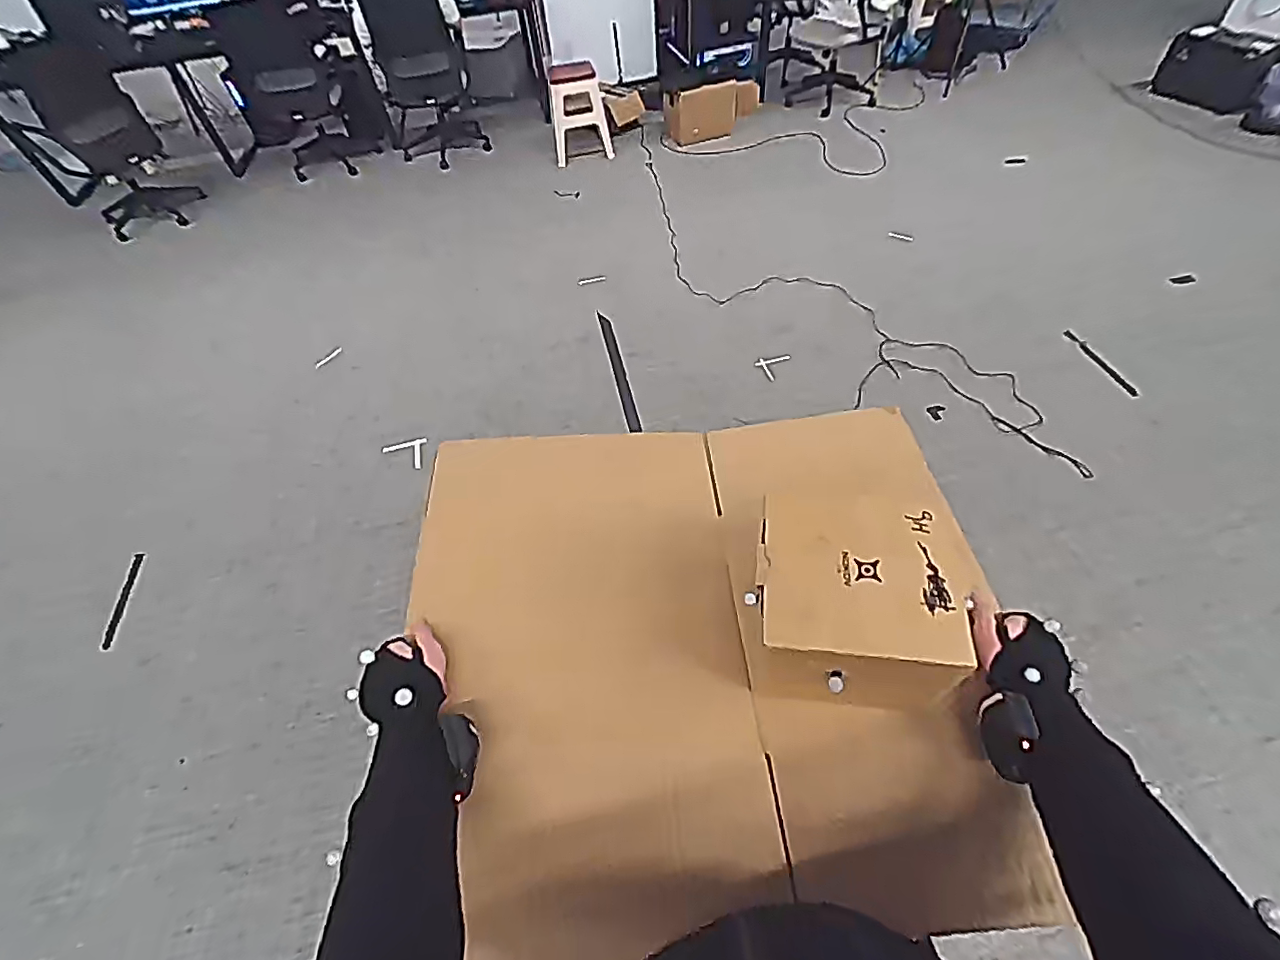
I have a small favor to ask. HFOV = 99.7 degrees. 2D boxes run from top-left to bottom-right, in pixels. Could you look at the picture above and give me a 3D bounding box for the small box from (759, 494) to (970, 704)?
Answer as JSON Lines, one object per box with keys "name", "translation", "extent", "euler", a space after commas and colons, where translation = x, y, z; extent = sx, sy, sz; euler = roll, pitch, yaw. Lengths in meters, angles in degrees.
{"name": "small box", "translation": [0.219, 0.130, 0.579], "extent": [0.179, 0.176, 0.168], "euler": [1, 56, 13]}
